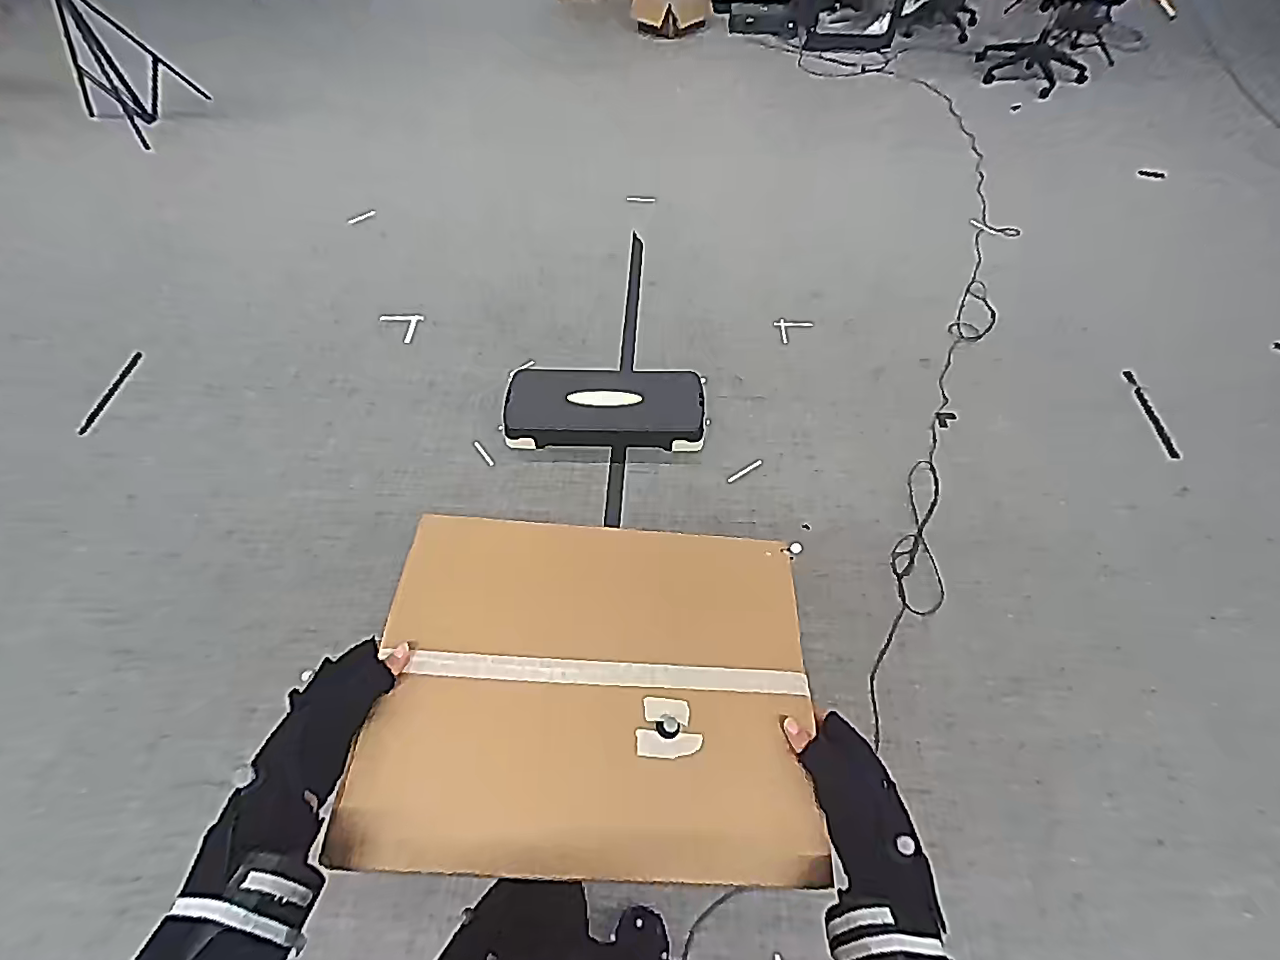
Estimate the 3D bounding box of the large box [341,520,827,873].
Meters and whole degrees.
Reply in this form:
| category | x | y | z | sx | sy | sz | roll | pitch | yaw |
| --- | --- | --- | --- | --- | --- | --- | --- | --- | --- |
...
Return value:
| category | x | y | z | sx | sy | sz | roll | pitch | yaw |
| --- | --- | --- | --- | --- | --- | --- | --- | --- | --- |
| large box | -0.053 | 0.267 | 0.641 | 0.408 | 0.320 | 0.320 | 5 | 56 | -4 |
